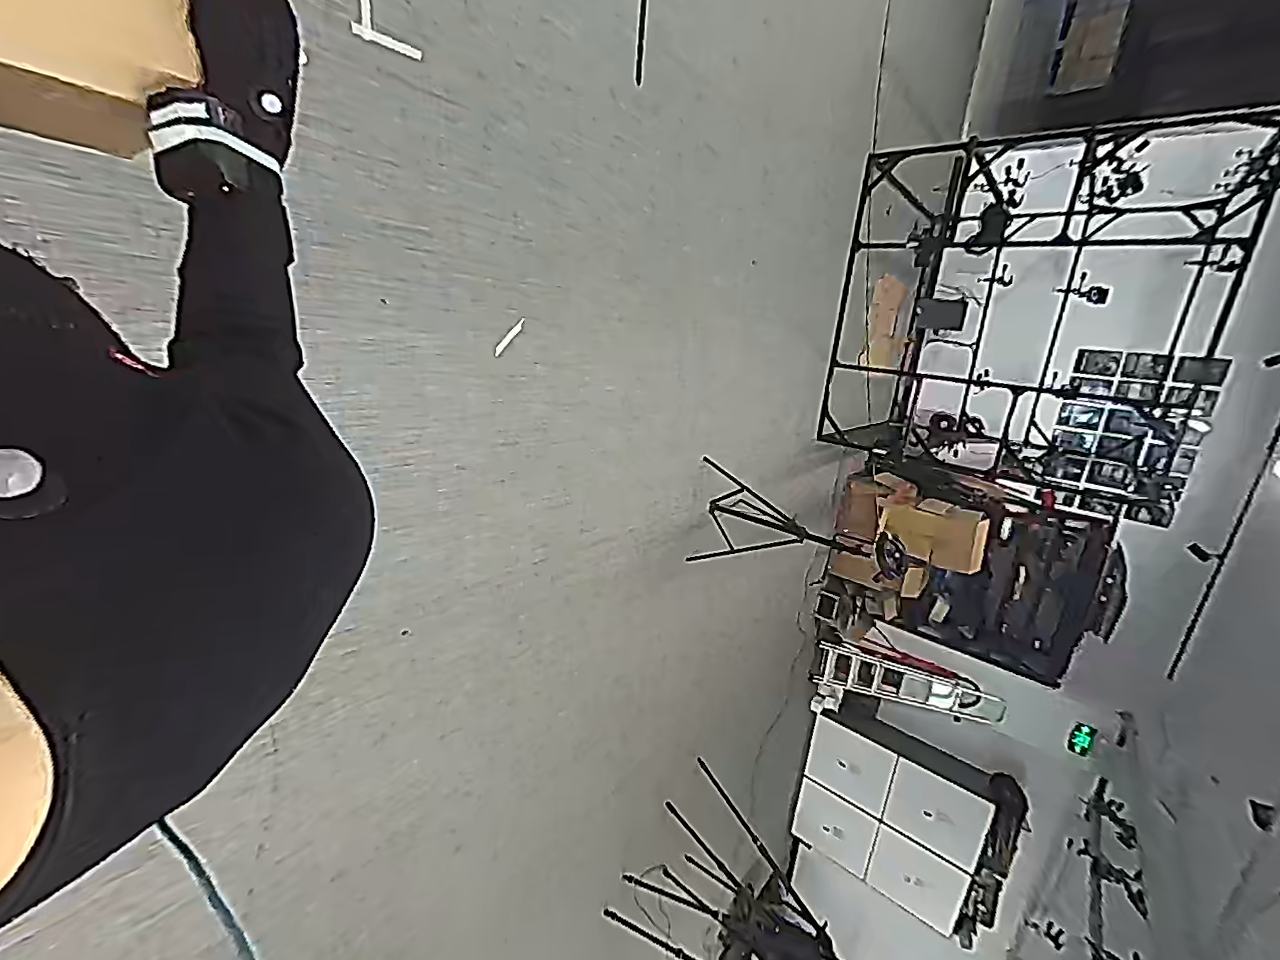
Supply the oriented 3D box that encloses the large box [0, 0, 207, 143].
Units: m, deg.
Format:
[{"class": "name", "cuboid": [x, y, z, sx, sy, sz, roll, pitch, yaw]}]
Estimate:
[{"class": "large box", "cuboid": [-0.568, -0.450, 0.326, 0.408, 0.320, 0.320, -12, 116, -50]}]
